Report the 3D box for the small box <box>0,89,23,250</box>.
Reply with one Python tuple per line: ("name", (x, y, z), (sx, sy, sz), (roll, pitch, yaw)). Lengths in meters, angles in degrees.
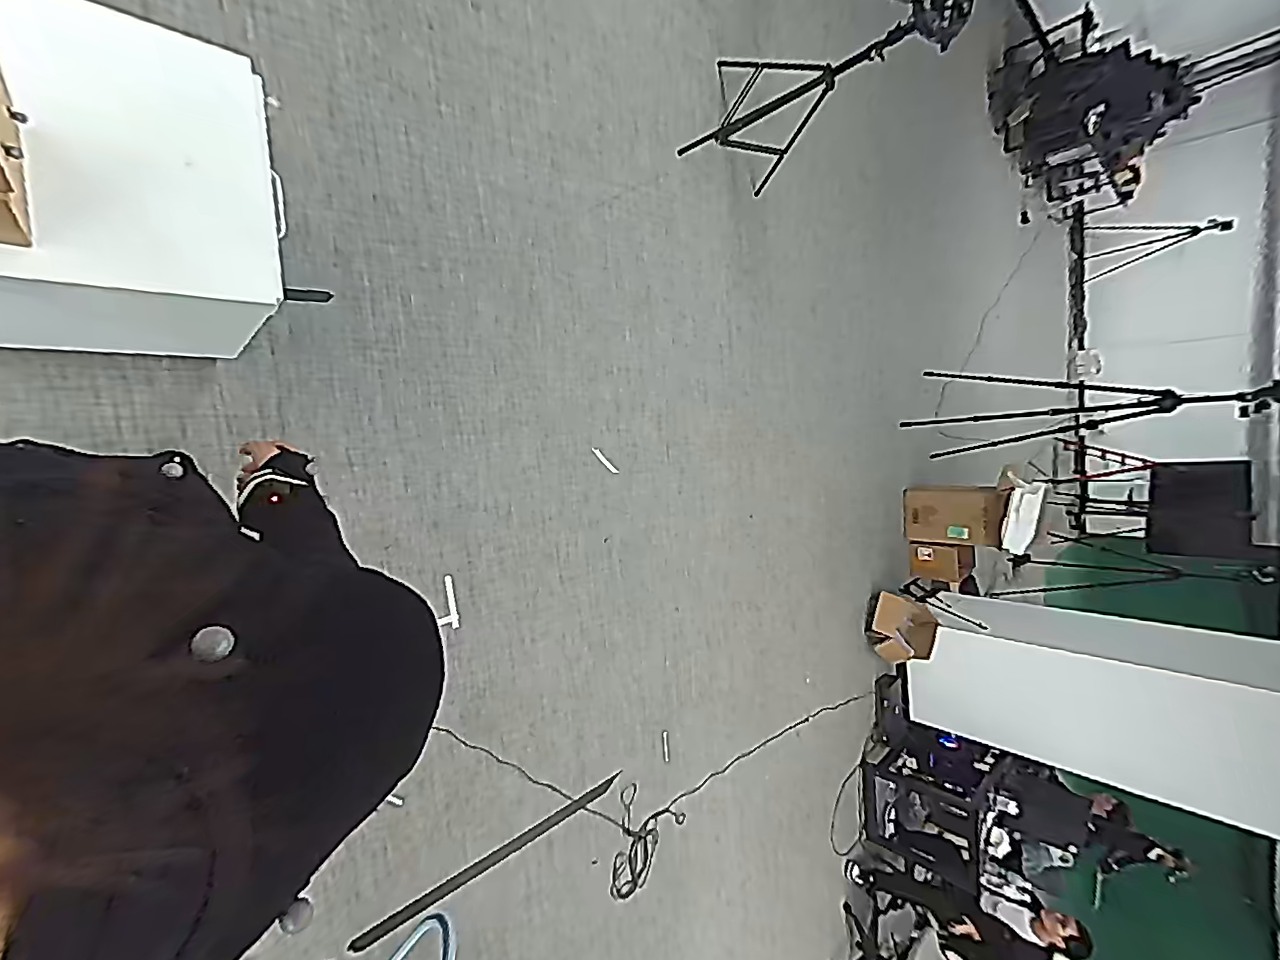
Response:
("small box", (-0.819, -0.381, 0.594), (0.168, 0.176, 0.179), (-6, 94, -43))
